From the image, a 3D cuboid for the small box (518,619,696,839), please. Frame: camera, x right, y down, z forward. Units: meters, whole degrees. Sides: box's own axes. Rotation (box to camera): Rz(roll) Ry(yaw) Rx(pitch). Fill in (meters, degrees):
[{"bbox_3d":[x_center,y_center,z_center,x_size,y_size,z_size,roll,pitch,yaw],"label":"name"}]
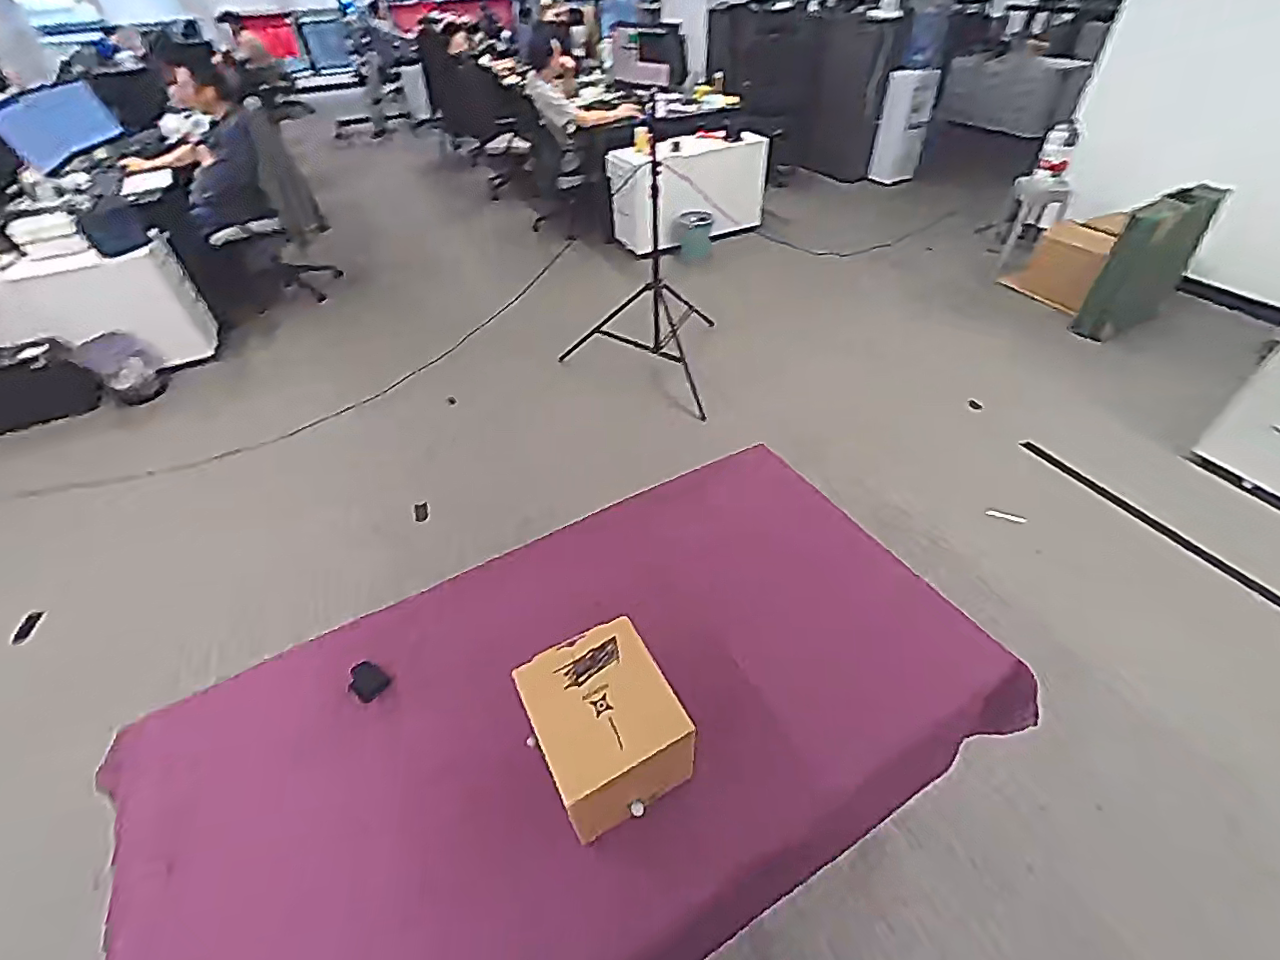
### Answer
[{"bbox_3d":[-0.043,0.324,0.710,0.168,0.176,0.179,-23,47,-19],"label":"small box"}]
